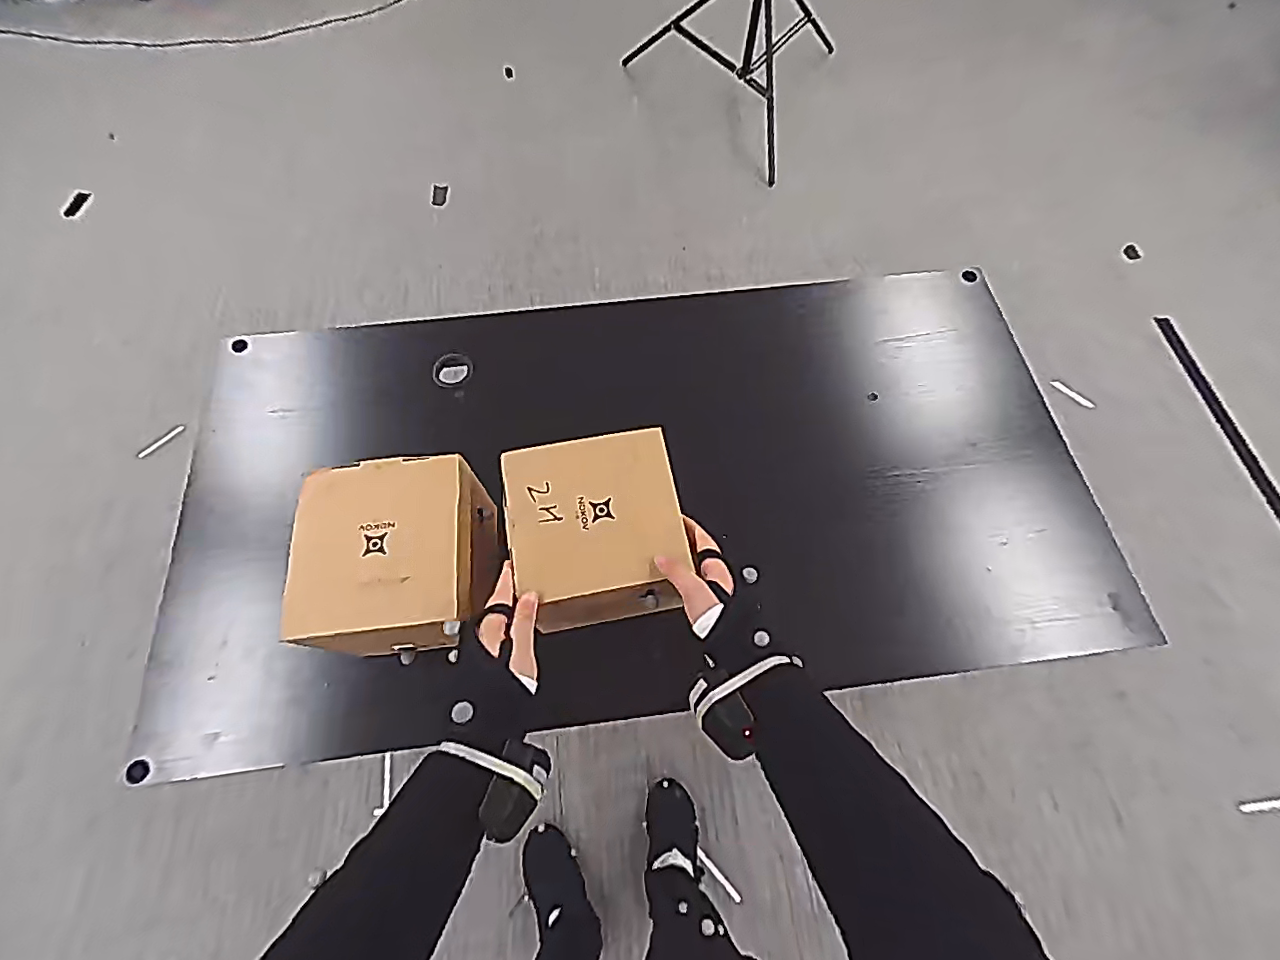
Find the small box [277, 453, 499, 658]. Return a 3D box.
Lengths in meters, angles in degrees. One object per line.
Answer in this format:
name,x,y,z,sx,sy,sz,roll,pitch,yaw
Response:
small box,-0.258,0.090,0.598,0.168,0.176,0.179,-7,67,-2
